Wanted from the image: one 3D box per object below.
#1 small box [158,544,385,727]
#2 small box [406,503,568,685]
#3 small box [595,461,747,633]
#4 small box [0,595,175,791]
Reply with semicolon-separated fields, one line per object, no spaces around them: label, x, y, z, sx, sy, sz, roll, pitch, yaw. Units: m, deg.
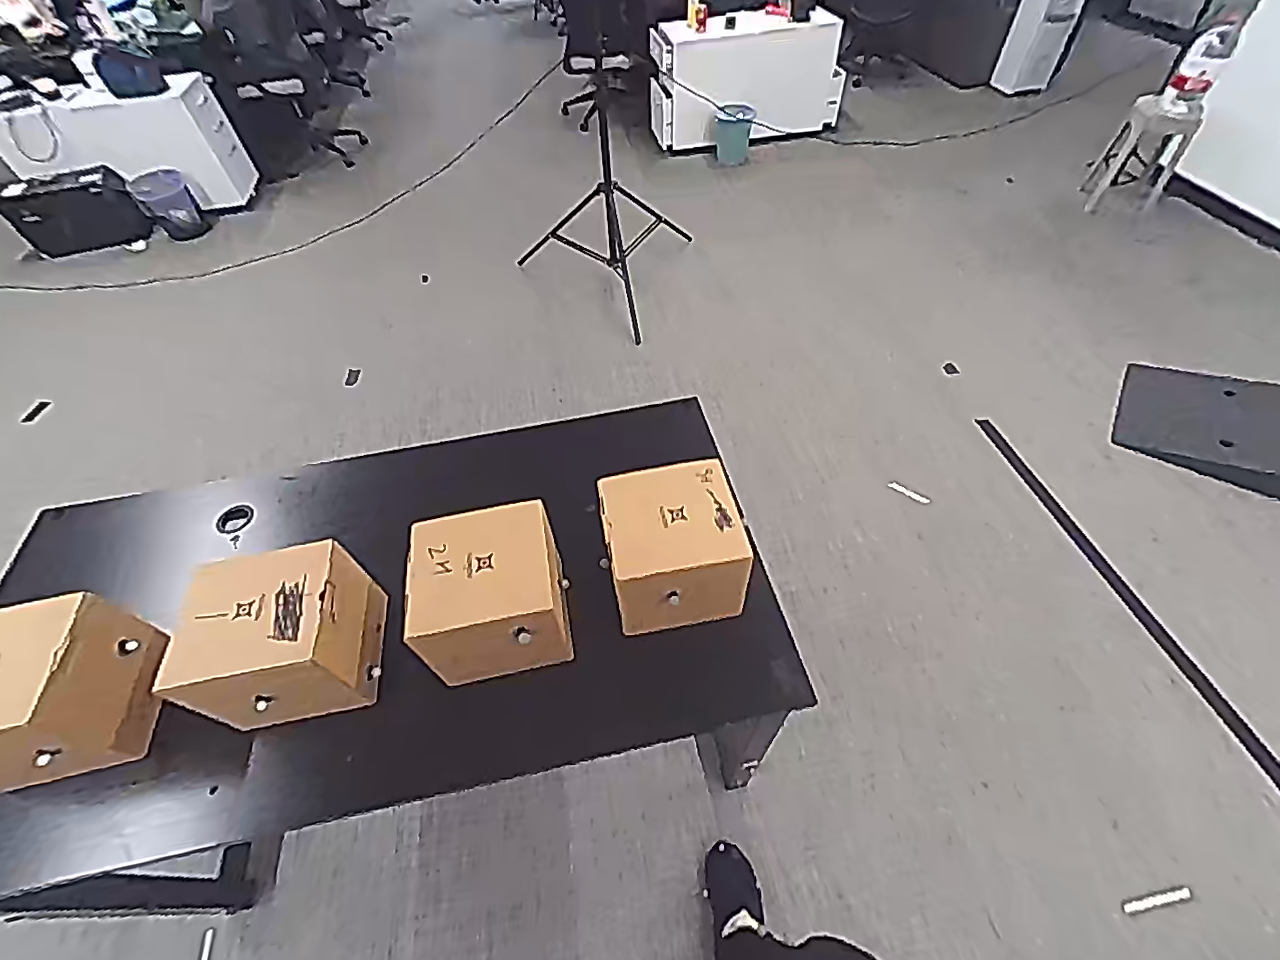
small box;-0.462;0.209;0.718;0.179;0.176;0.168;-11;52;-4
small box;-0.198;0.158;0.740;0.179;0.176;0.168;-11;51;-6
small box;0.043;0.100;0.772;0.179;0.176;0.168;-11;52;-3
small box;-0.749;0.273;0.687;0.179;0.176;0.168;-13;51;-6
